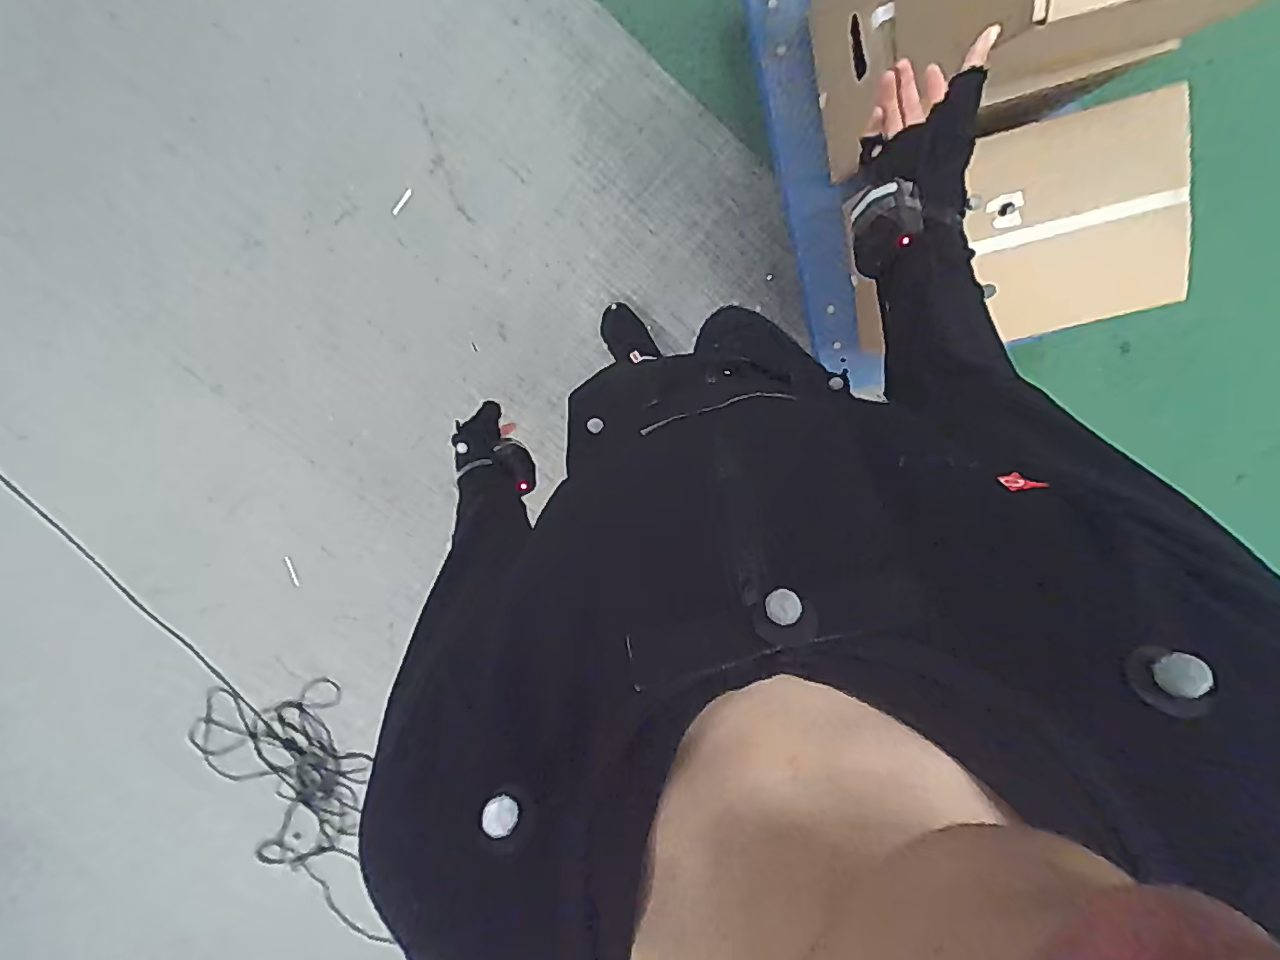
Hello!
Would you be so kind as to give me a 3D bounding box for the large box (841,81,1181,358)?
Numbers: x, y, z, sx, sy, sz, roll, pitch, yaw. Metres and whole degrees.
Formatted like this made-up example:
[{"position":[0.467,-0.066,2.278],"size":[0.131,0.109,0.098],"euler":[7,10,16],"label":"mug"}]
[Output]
[{"position":[0.628,-0.432,0.980],"size":[0.408,0.320,0.320],"euler":[-12,105,7],"label":"large box"}]
